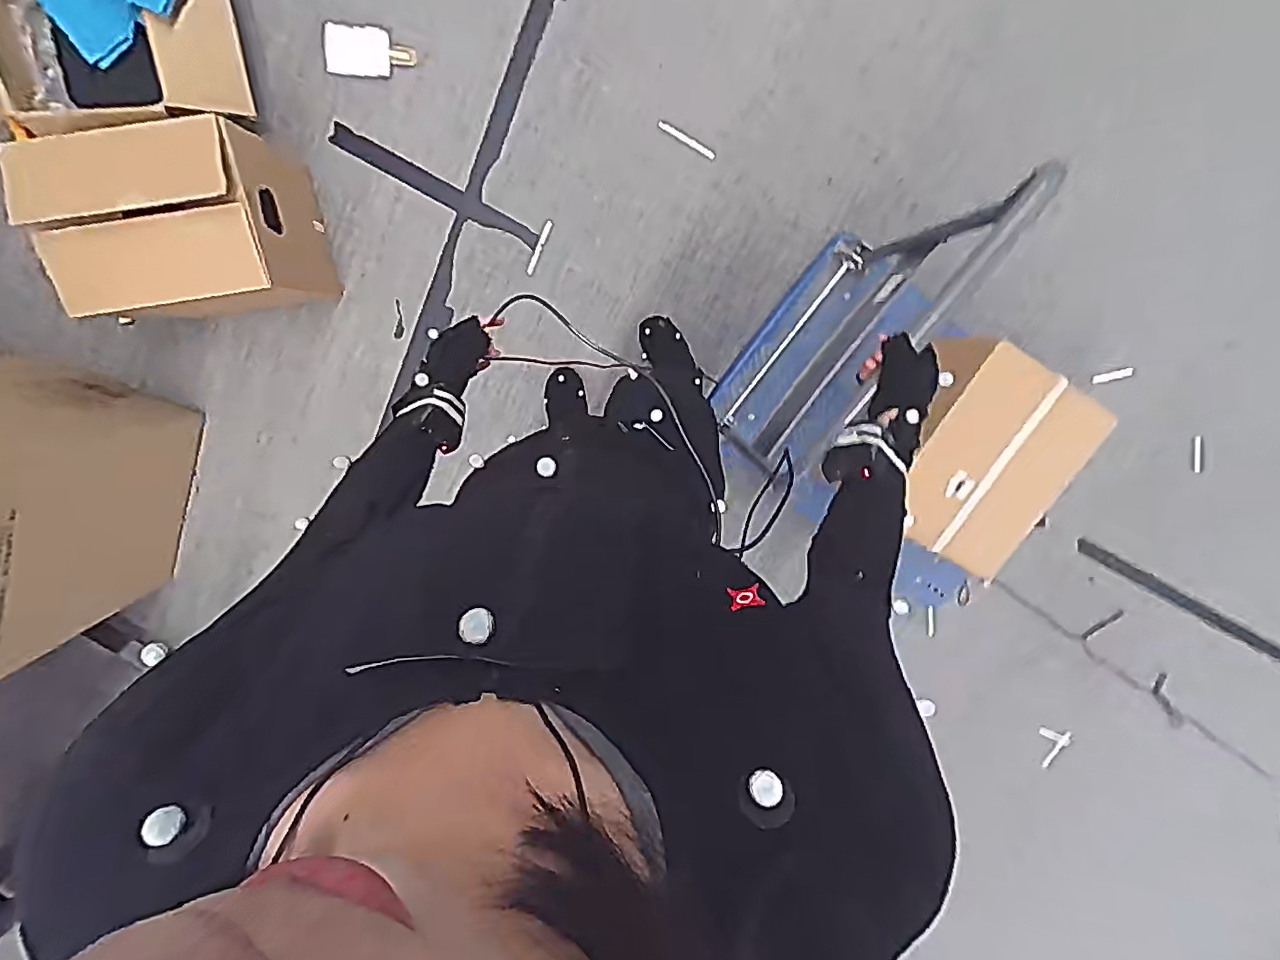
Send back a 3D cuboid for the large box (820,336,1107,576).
[{"bbox_3d":[0.689,-0.072,1.220,0.320,0.320,0.408,29,103,-10],"label":"large box"}]
